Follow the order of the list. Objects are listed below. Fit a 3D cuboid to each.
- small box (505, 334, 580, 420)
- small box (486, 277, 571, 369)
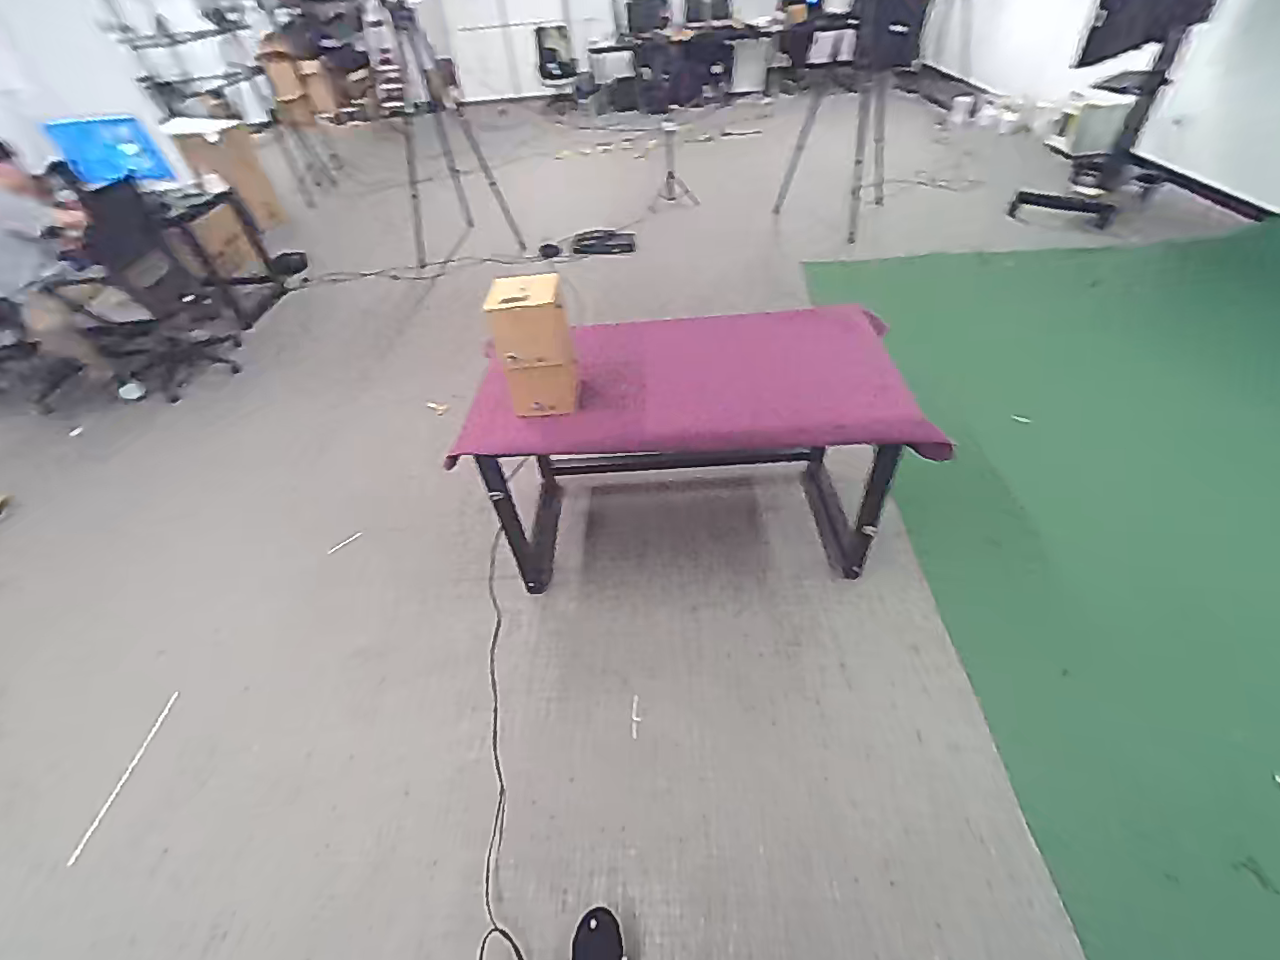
[{"bbox_3d":[-0.263,-0.286,1.508,0.168,0.176,0.179,-4,45,4],"label":"small box"},{"bbox_3d":[-0.277,-0.397,1.389,0.168,0.176,0.179,-4,43,4],"label":"small box"}]
